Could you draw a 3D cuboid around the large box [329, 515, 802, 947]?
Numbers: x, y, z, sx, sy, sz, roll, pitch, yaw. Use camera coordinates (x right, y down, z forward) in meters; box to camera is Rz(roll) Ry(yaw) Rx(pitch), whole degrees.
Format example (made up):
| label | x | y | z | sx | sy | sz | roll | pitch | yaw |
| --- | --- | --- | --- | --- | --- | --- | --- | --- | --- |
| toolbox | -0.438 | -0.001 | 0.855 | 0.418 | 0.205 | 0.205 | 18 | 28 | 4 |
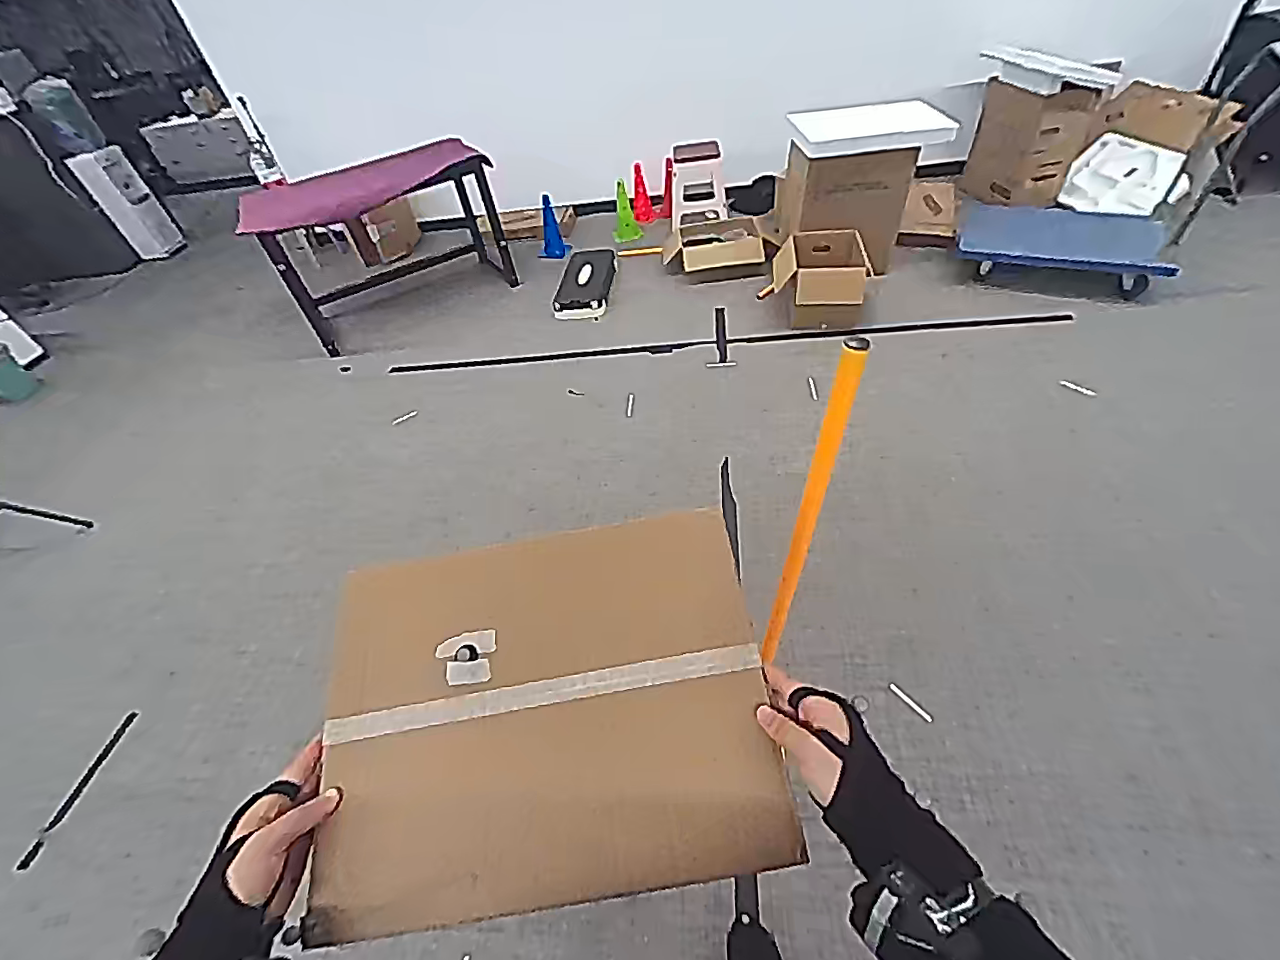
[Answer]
| label | x | y | z | sx | sy | sz | roll | pitch | yaw |
| --- | --- | --- | --- | --- | --- | --- | --- | --- | --- |
| large box | -0.071 | 0.277 | 0.641 | 0.408 | 0.320 | 0.320 | -11 | 60 | 0 |
